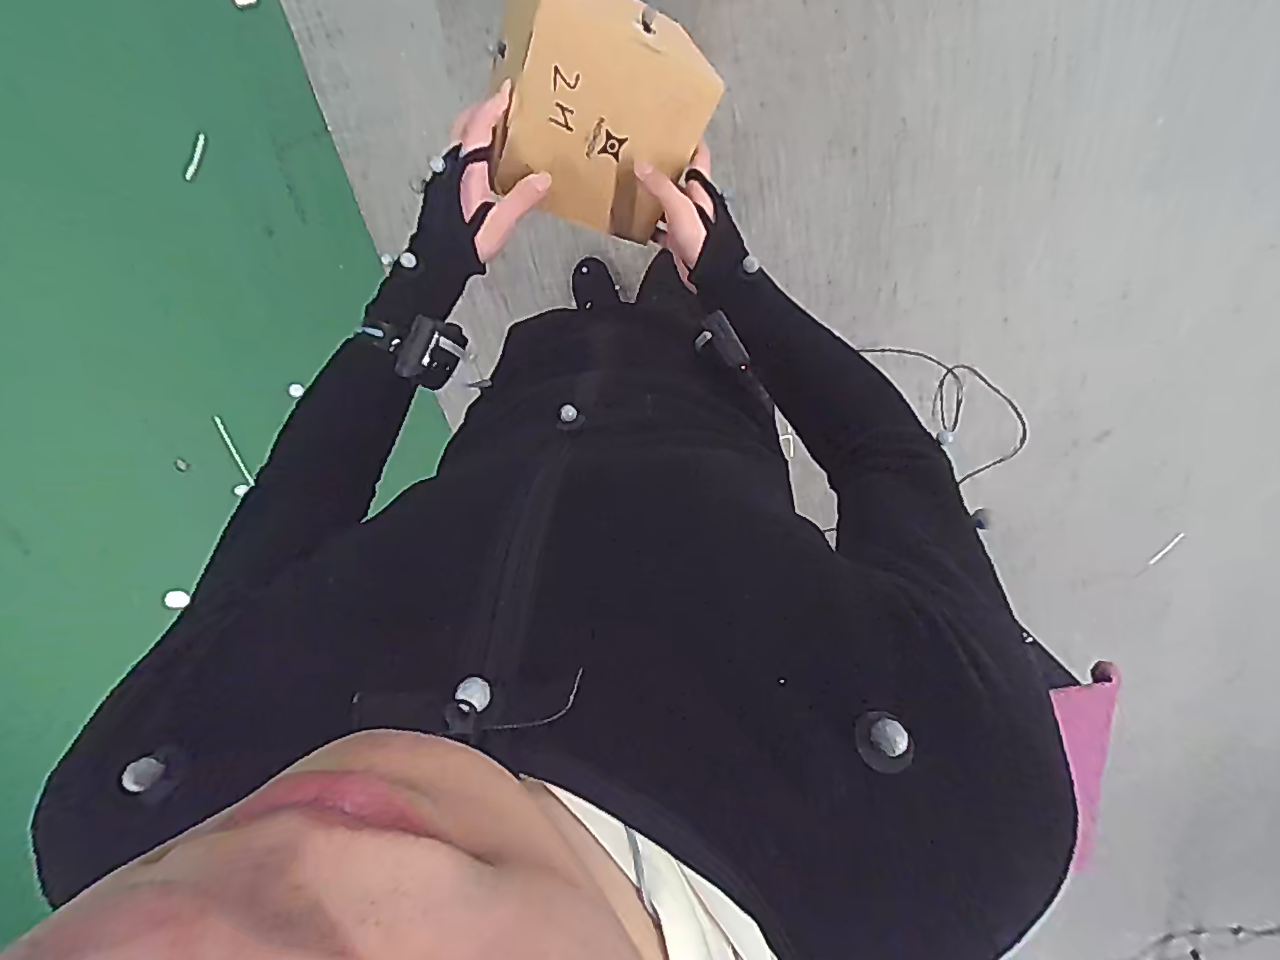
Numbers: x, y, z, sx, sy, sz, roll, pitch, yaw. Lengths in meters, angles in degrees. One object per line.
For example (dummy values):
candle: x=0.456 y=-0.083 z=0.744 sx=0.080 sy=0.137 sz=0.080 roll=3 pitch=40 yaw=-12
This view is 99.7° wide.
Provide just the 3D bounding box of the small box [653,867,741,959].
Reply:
small box: x=0.135 y=1.082 z=1.302 sx=0.179 sy=0.176 sz=0.168 roll=-19 pitch=113 yaw=5

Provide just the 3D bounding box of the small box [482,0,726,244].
small box: x=-0.049 y=-0.377 z=0.539 sx=0.179 sy=0.176 sz=0.168 roll=7 pitch=140 yaw=-29
